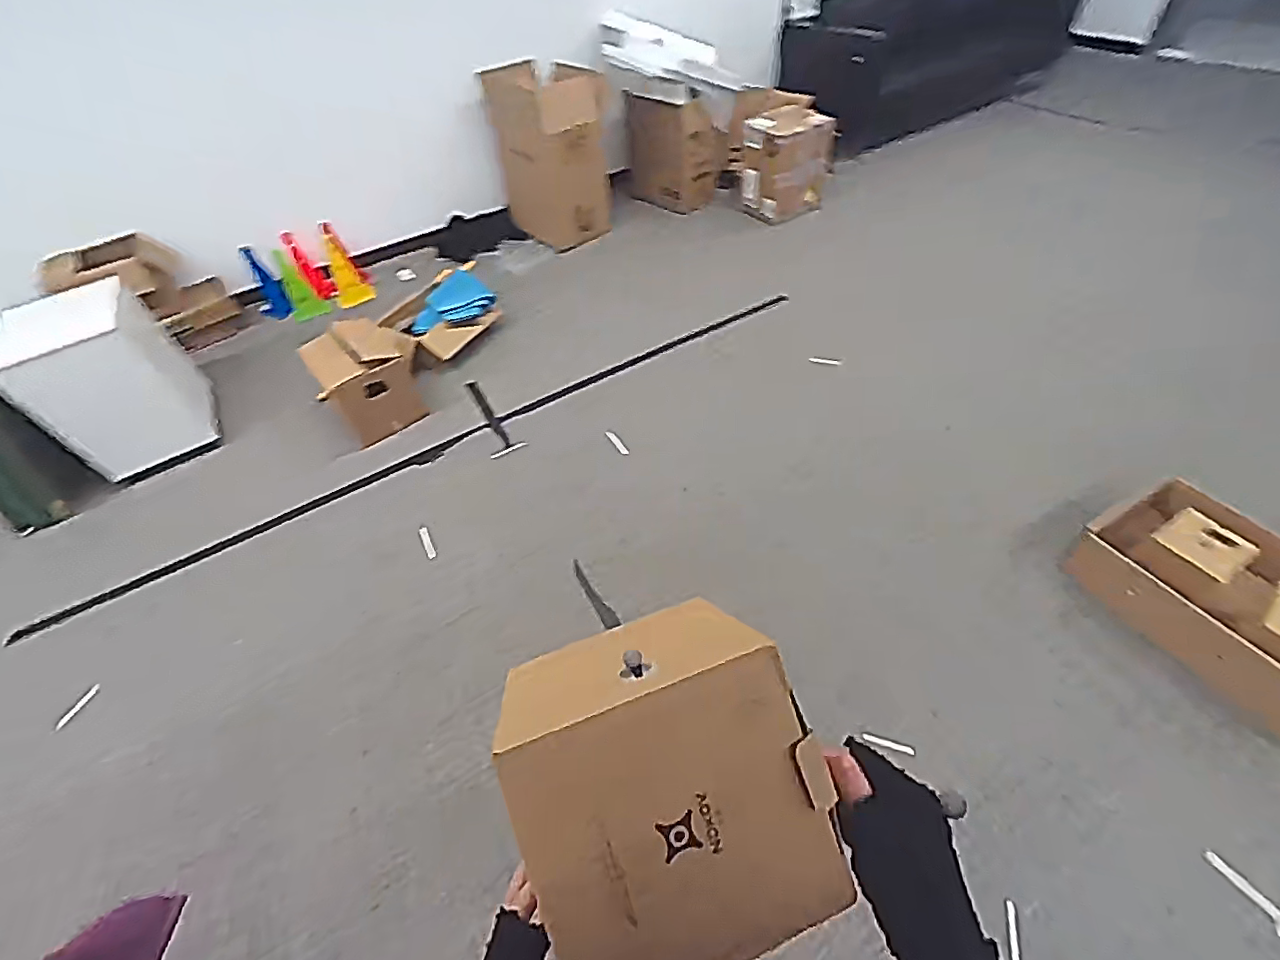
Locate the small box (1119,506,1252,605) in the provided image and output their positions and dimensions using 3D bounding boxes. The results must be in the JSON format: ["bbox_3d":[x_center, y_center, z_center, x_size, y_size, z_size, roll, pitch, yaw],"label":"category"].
[{"bbox_3d":[1.487,0.209,1.489,0.179,0.176,0.168,-28,52,-17],"label":"small box"}]
